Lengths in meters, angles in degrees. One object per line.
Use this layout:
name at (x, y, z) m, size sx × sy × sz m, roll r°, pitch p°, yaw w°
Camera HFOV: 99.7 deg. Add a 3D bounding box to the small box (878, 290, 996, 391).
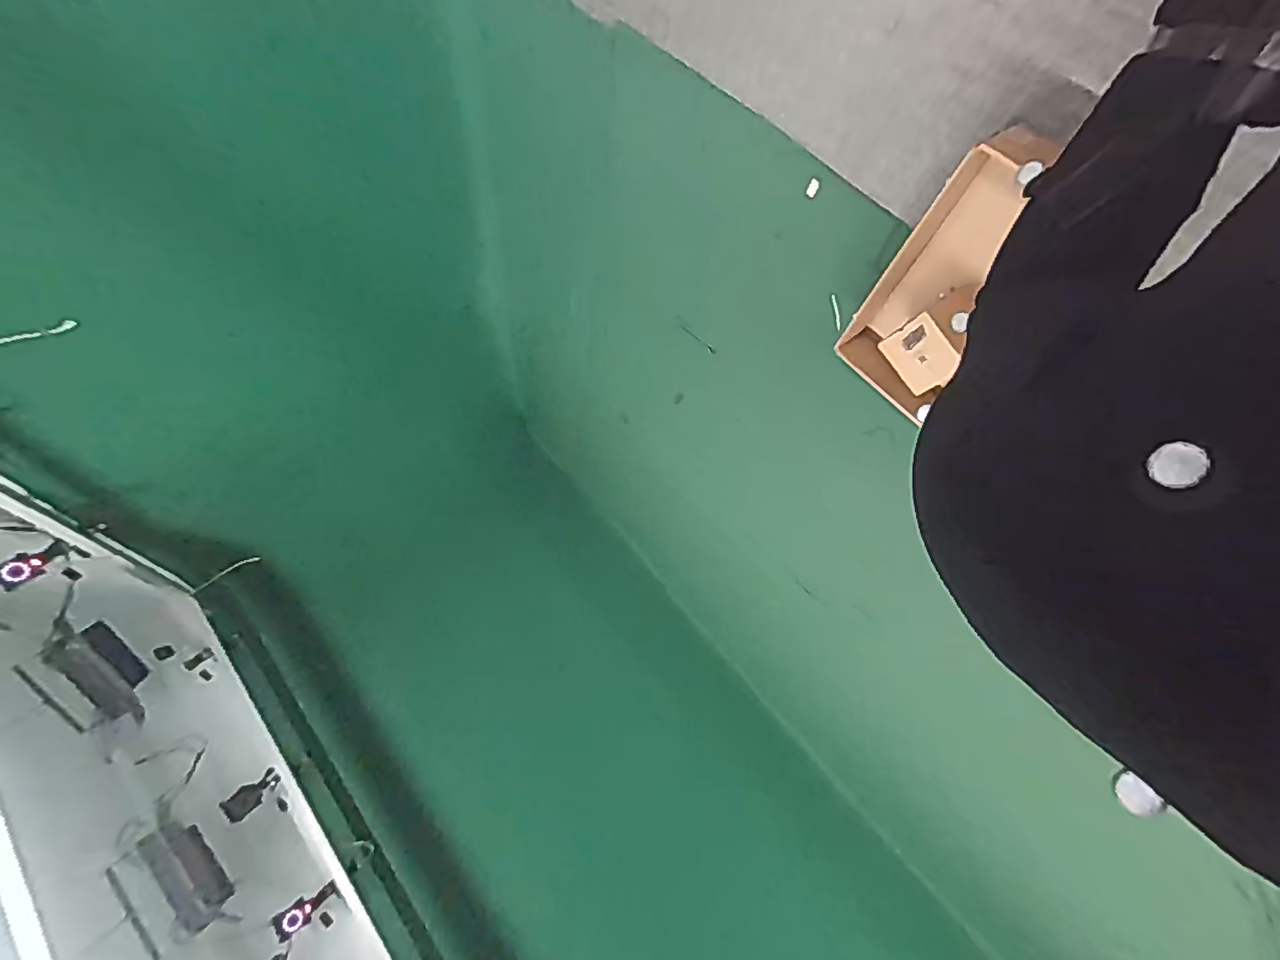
small box at (0.768, -0.367, 1.401) m, size 0.179 × 0.176 × 0.168 m, roll 54°, pitch 154°, yaw 2°
